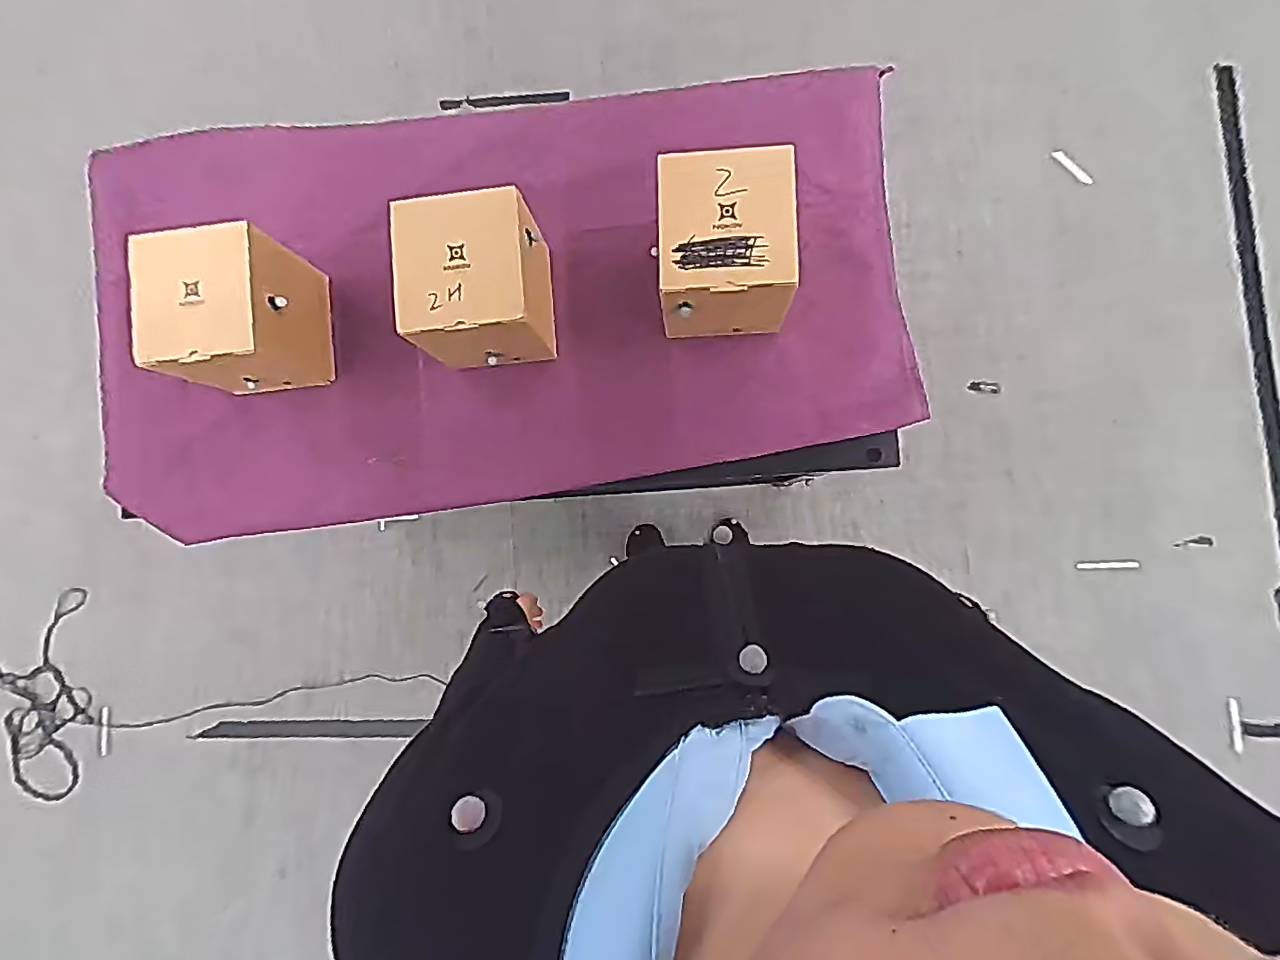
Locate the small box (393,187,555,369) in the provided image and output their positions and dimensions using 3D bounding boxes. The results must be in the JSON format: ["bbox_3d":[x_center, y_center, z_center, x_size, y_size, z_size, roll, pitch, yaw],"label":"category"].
[{"bbox_3d":[-0.220,-0.268,0.751,0.168,0.176,0.179,-5,86,5],"label":"small box"}]

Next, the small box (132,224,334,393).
[{"bbox_3d":[-0.571,-0.235,0.777,0.168,0.176,0.179,-6,87,3],"label":"small box"}]
